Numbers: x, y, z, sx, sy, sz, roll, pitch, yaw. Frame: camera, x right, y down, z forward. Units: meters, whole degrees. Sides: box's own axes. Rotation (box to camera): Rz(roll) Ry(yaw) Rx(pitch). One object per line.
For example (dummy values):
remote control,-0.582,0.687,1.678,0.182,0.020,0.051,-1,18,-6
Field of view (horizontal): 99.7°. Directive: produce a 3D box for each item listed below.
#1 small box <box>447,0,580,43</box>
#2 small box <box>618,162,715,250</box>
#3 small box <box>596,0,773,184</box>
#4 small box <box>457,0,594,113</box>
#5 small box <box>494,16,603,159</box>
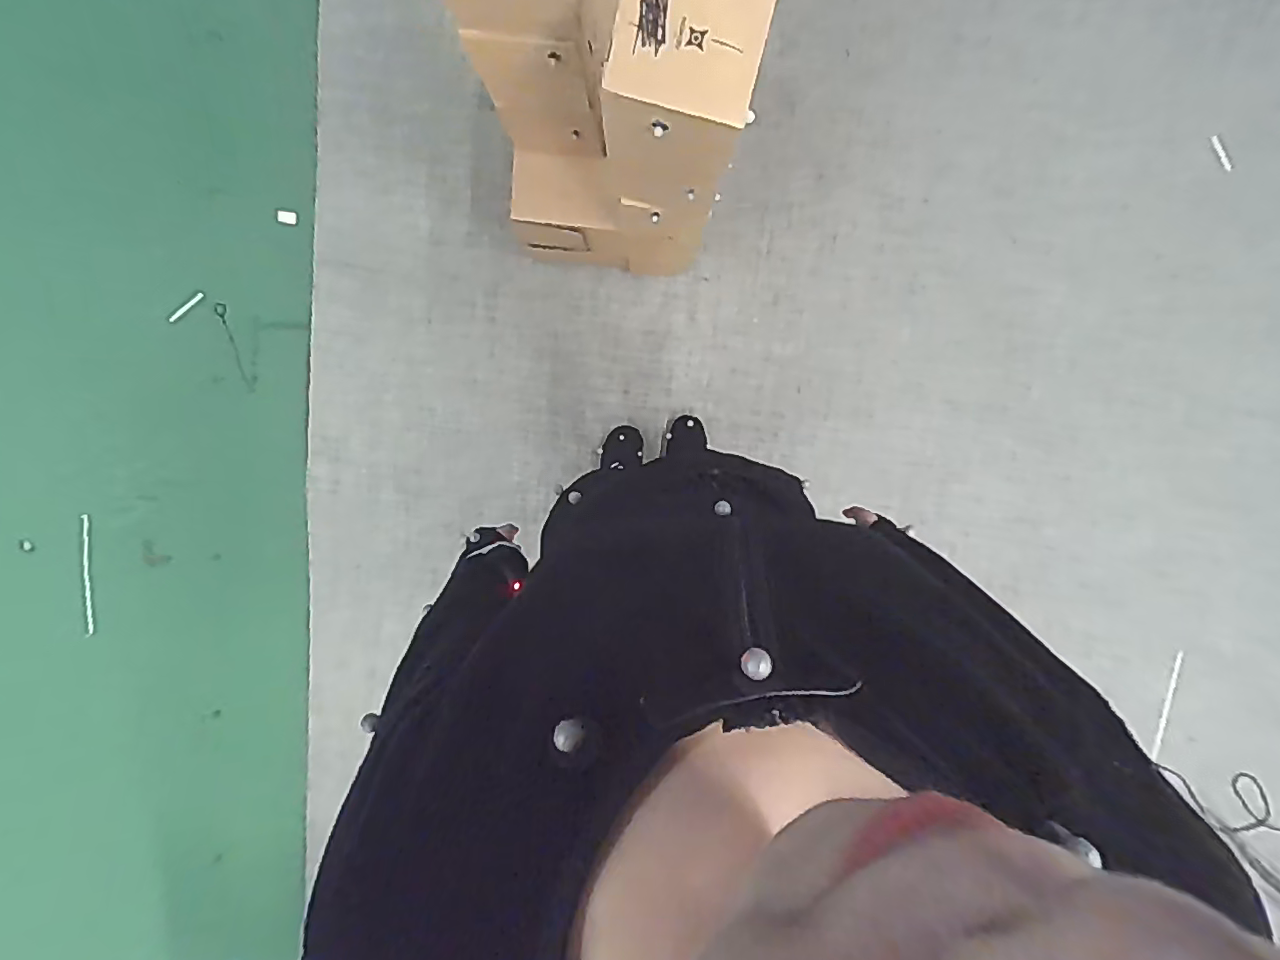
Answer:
small box,-0.166,-0.707,0.692,0.179,0.176,0.168,6,94,0
small box,0.055,-0.565,1.030,0.168,0.176,0.179,10,96,-1
small box,0.051,-0.516,0.704,0.179,0.176,0.168,14,97,-3
small box,-0.172,-0.718,0.856,0.179,0.176,0.168,4,95,0
small box,-0.163,-0.731,1.018,0.179,0.176,0.168,4,95,1
